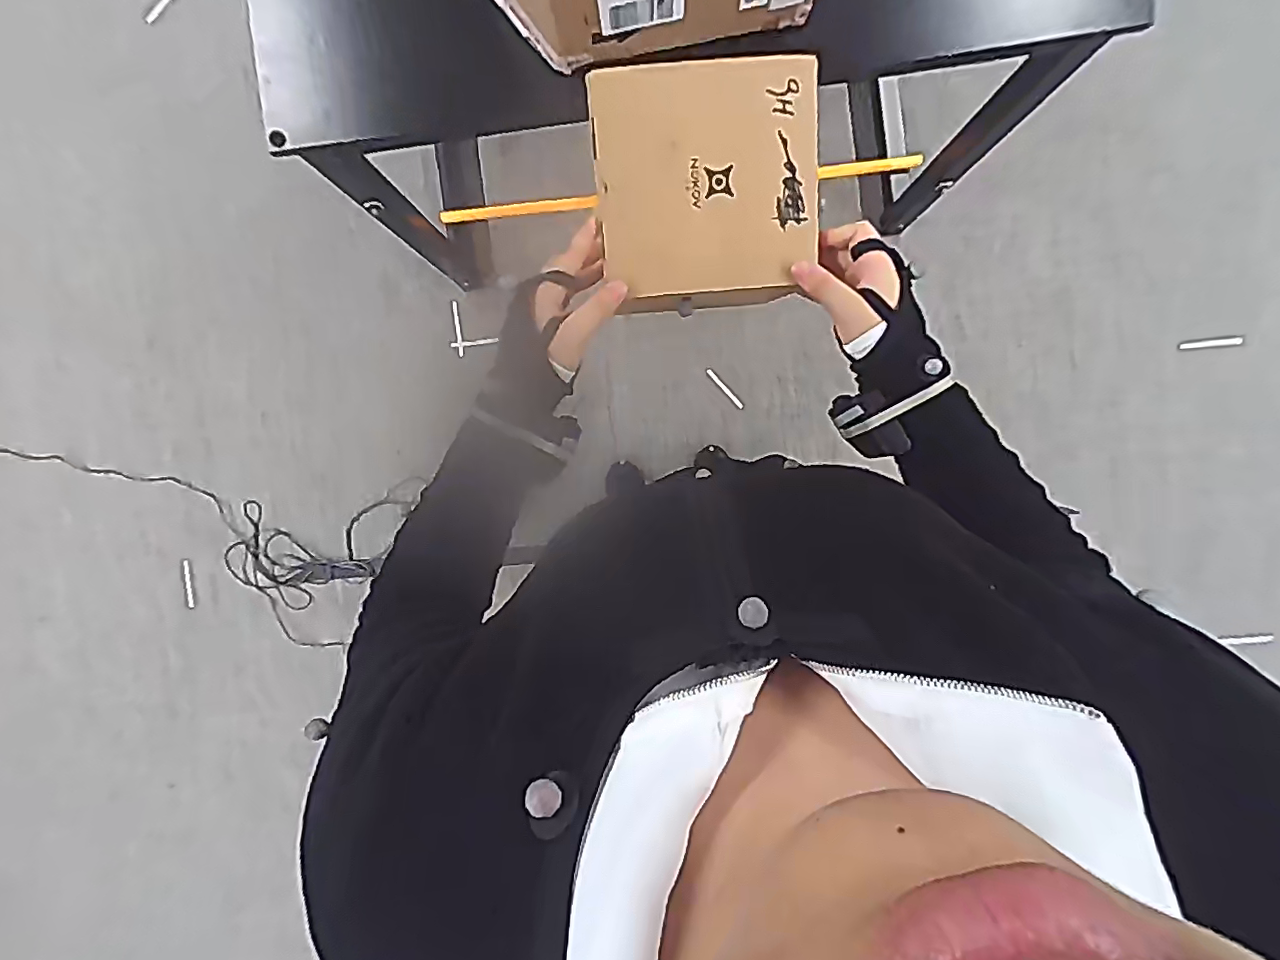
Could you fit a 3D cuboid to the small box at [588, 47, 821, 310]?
[{"bbox_3d":[0.052,-0.253,0.495,0.179,0.176,0.168,-4,102,-1],"label":"small box"}]
